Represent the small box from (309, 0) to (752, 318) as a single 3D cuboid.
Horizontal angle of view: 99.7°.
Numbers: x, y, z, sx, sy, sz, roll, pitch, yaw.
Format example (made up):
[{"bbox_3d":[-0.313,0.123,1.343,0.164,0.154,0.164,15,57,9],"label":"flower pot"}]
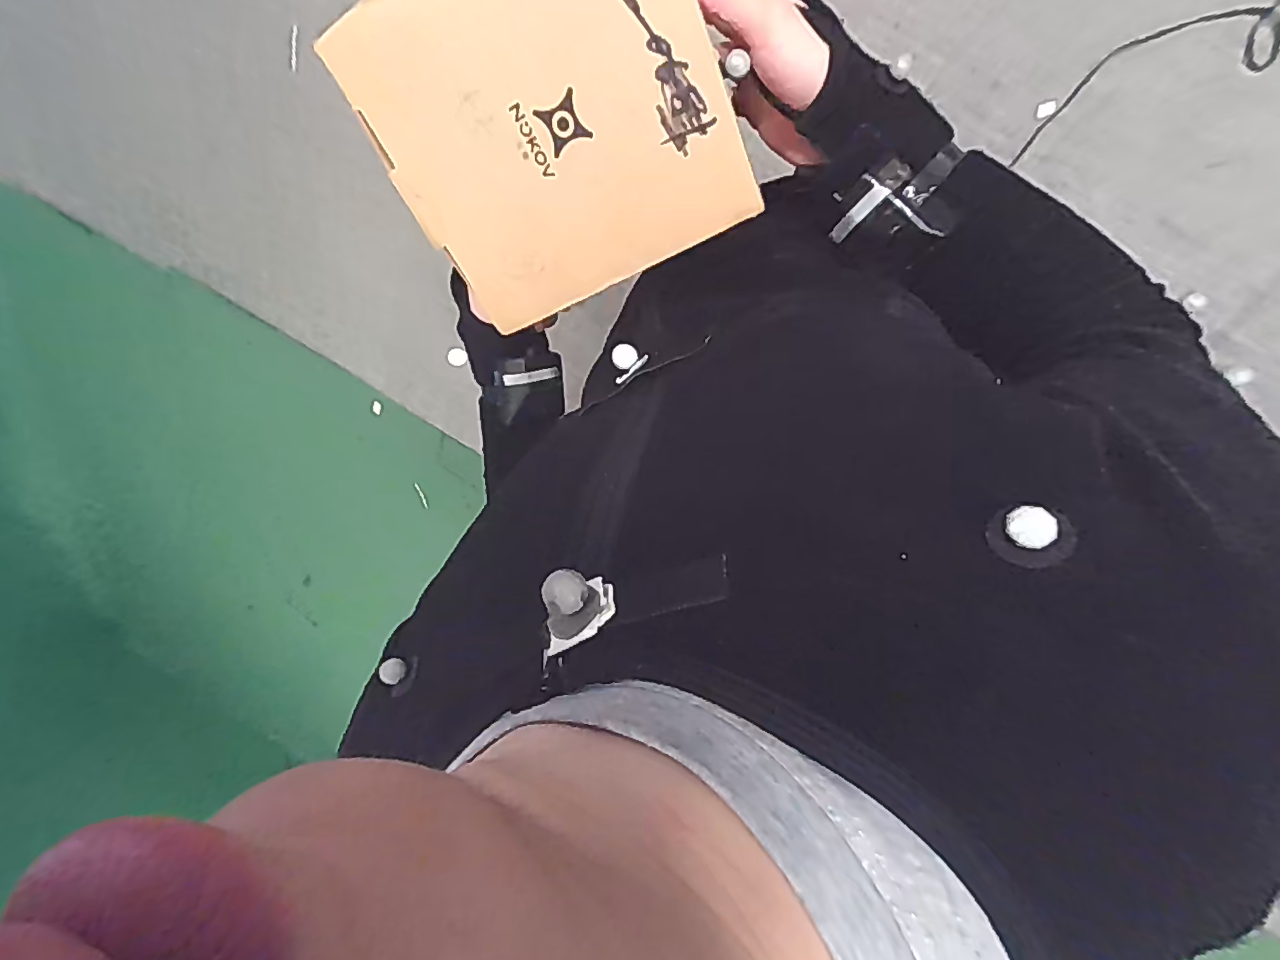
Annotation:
[{"bbox_3d":[-0.040,-0.232,0.332,0.179,0.176,0.168,-17,124,20],"label":"small box"}]
